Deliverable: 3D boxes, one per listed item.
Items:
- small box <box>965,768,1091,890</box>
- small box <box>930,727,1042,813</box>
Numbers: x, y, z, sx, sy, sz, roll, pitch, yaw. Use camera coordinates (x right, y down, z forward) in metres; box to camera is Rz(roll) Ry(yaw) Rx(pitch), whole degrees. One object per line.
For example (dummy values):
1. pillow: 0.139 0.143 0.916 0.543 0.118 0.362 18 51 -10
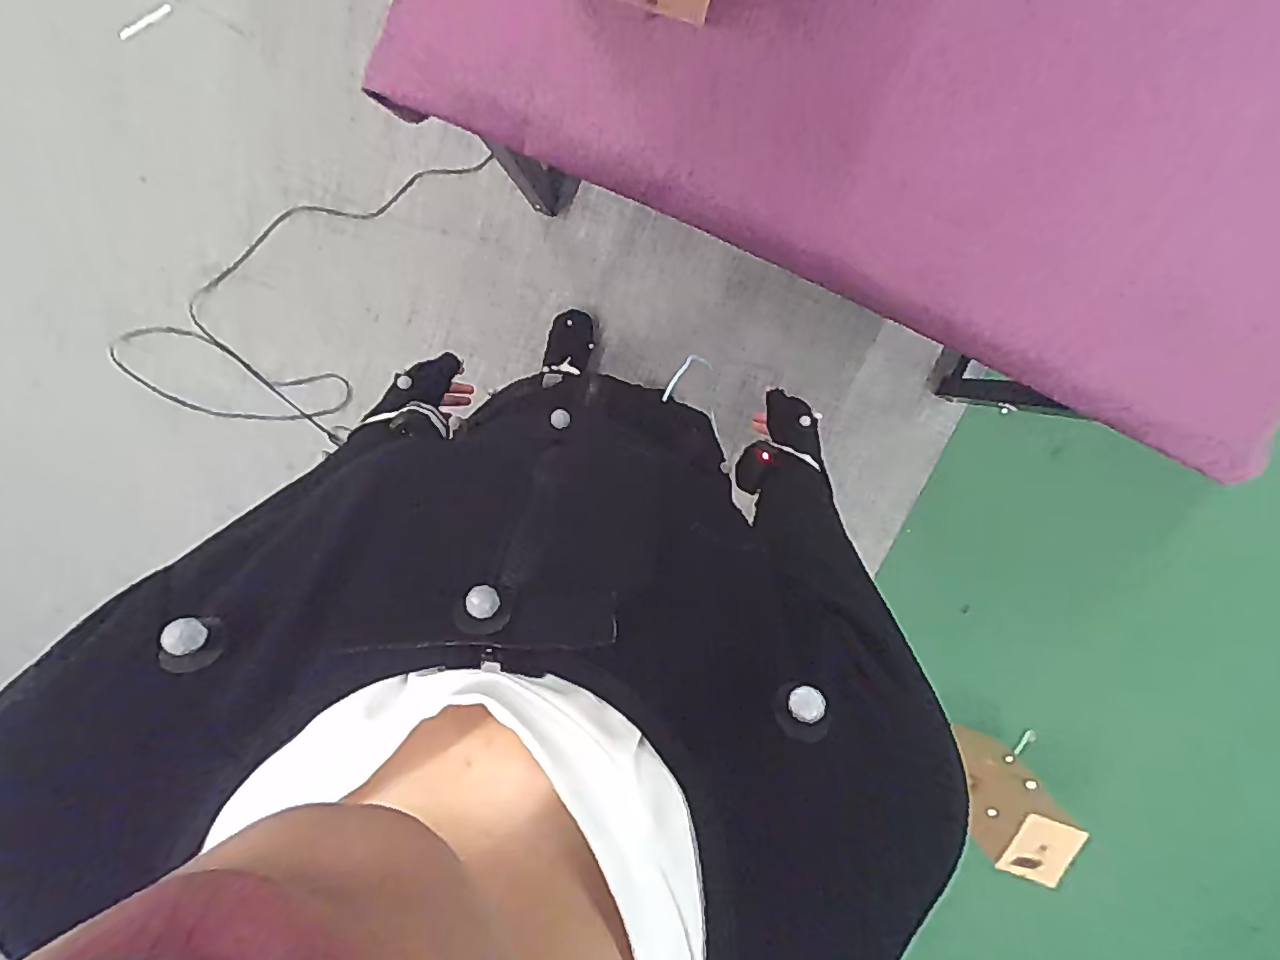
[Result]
1. small box: 0.984 0.893 1.395 0.168 0.176 0.179 24 103 -6
2. small box: 0.987 0.850 1.557 0.179 0.176 0.168 22 102 -3
